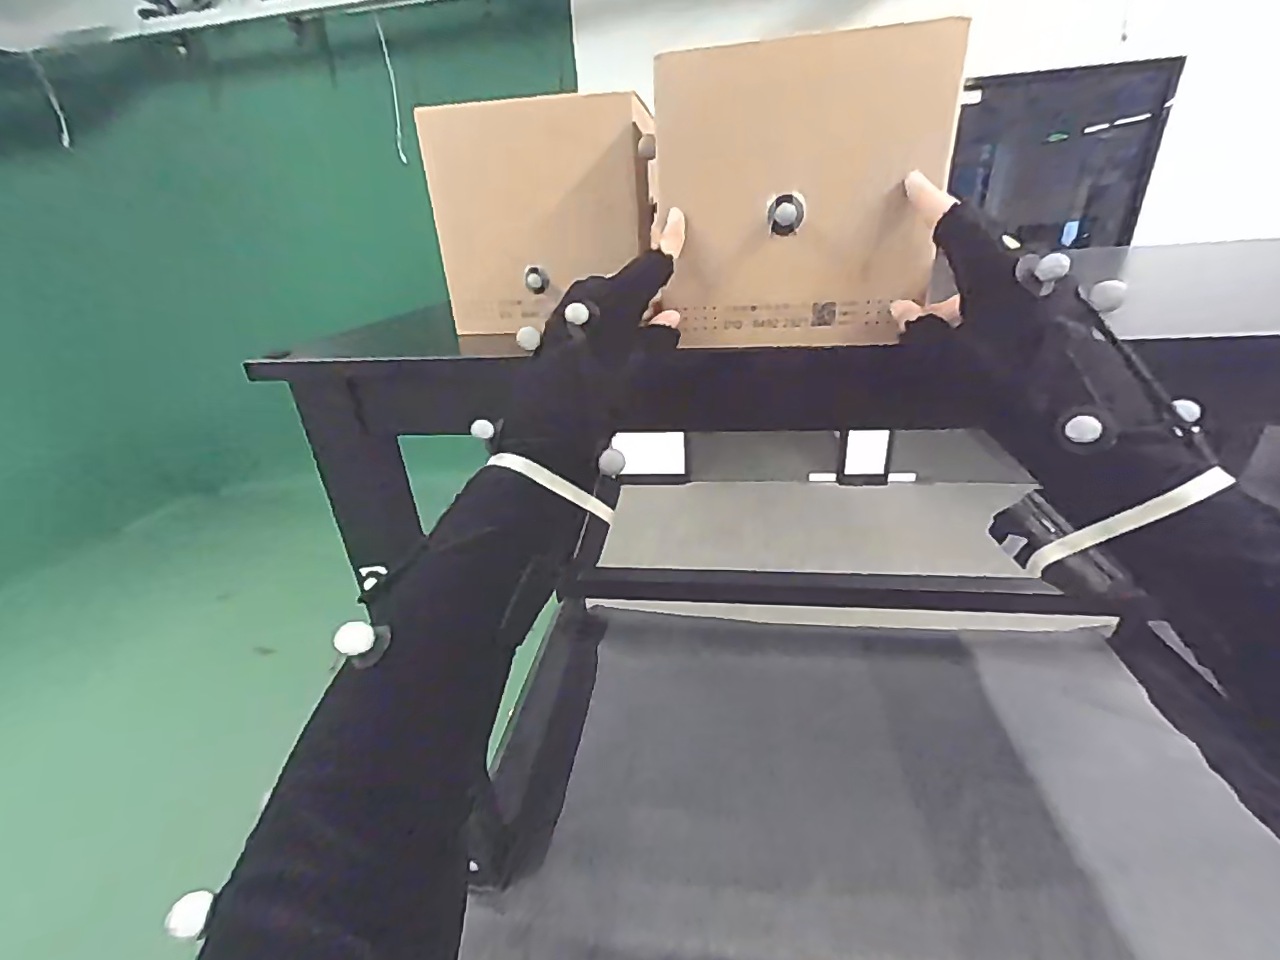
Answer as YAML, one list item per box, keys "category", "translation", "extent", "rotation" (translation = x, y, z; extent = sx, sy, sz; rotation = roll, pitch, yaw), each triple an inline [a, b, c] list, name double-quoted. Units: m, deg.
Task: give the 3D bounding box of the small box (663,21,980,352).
- category: "small box"
  translation: [0.113, -0.191, 0.392]
  extent: [0.168, 0.176, 0.179]
  rotation: [2, 25, 10]
